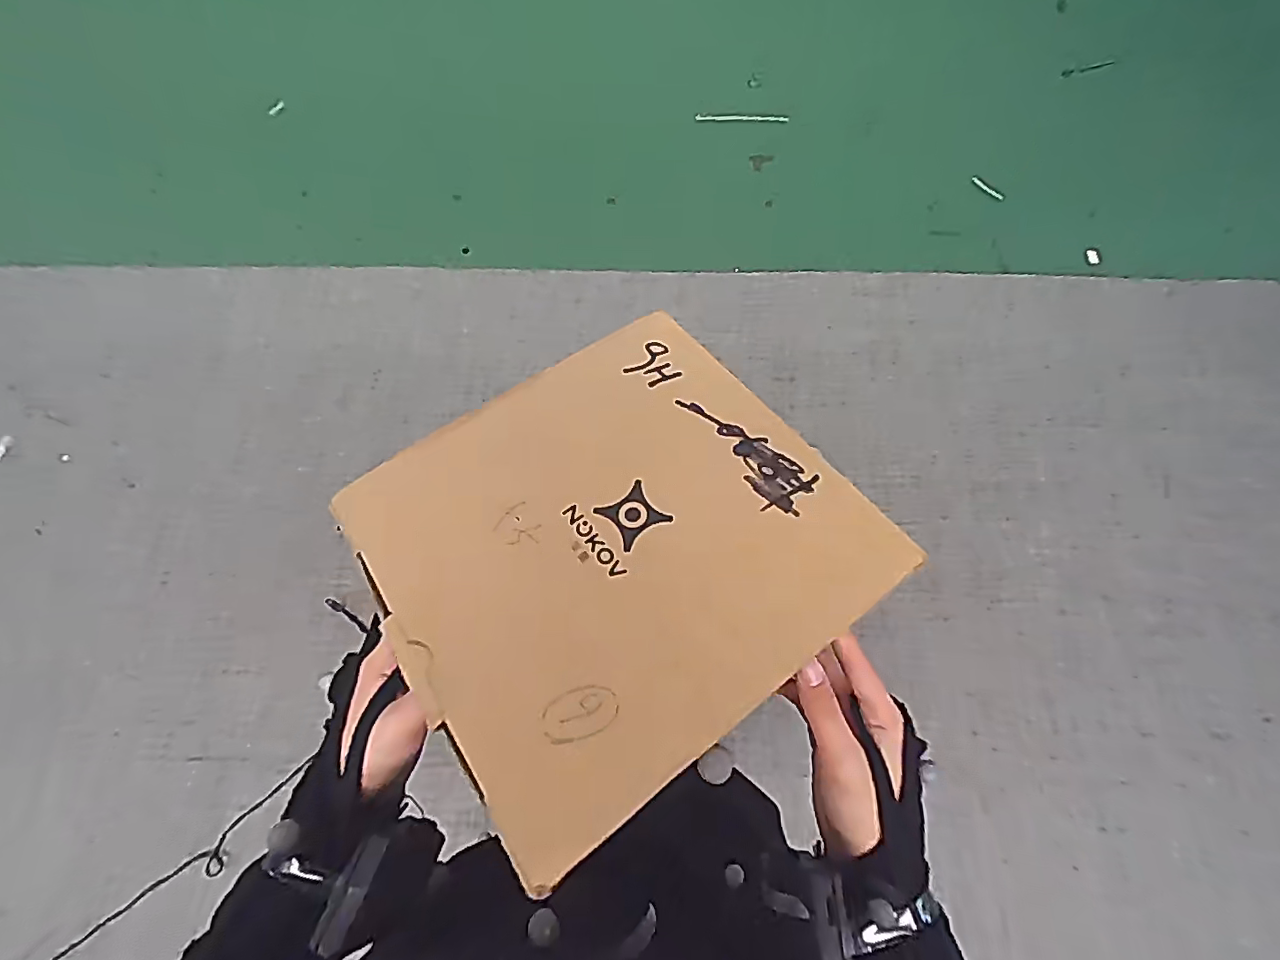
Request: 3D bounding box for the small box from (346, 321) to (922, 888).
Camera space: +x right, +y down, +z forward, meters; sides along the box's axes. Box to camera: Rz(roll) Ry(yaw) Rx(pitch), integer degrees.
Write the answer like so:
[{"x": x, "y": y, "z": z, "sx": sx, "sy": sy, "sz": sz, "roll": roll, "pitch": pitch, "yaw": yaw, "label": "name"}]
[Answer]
[{"x": -0.004, "y": 0.061, "z": 0.283, "sx": 0.179, "sy": 0.176, "sz": 0.168, "roll": -34, "pitch": 65, "yaw": -15, "label": "small box"}]
